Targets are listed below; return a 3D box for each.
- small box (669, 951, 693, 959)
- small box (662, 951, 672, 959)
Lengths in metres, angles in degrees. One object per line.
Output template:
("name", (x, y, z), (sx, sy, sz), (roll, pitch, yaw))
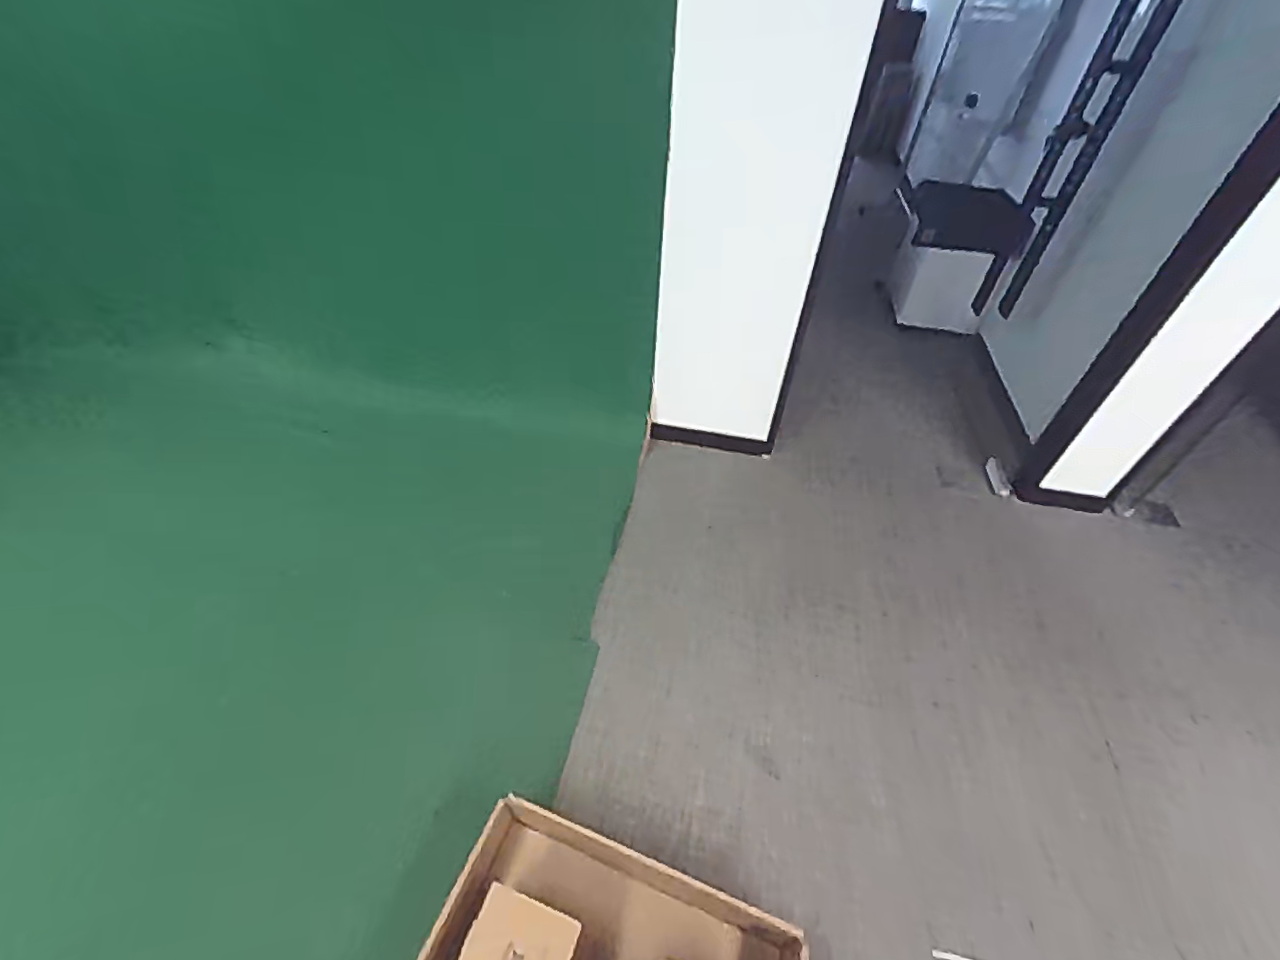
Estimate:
("small box", (0.096, 0.811, 0.758), (0.168, 0.176, 0.179), (14, 46, 13))
("small box", (0.095, 0.916, 0.884), (0.168, 0.176, 0.179), (13, 47, 11))
